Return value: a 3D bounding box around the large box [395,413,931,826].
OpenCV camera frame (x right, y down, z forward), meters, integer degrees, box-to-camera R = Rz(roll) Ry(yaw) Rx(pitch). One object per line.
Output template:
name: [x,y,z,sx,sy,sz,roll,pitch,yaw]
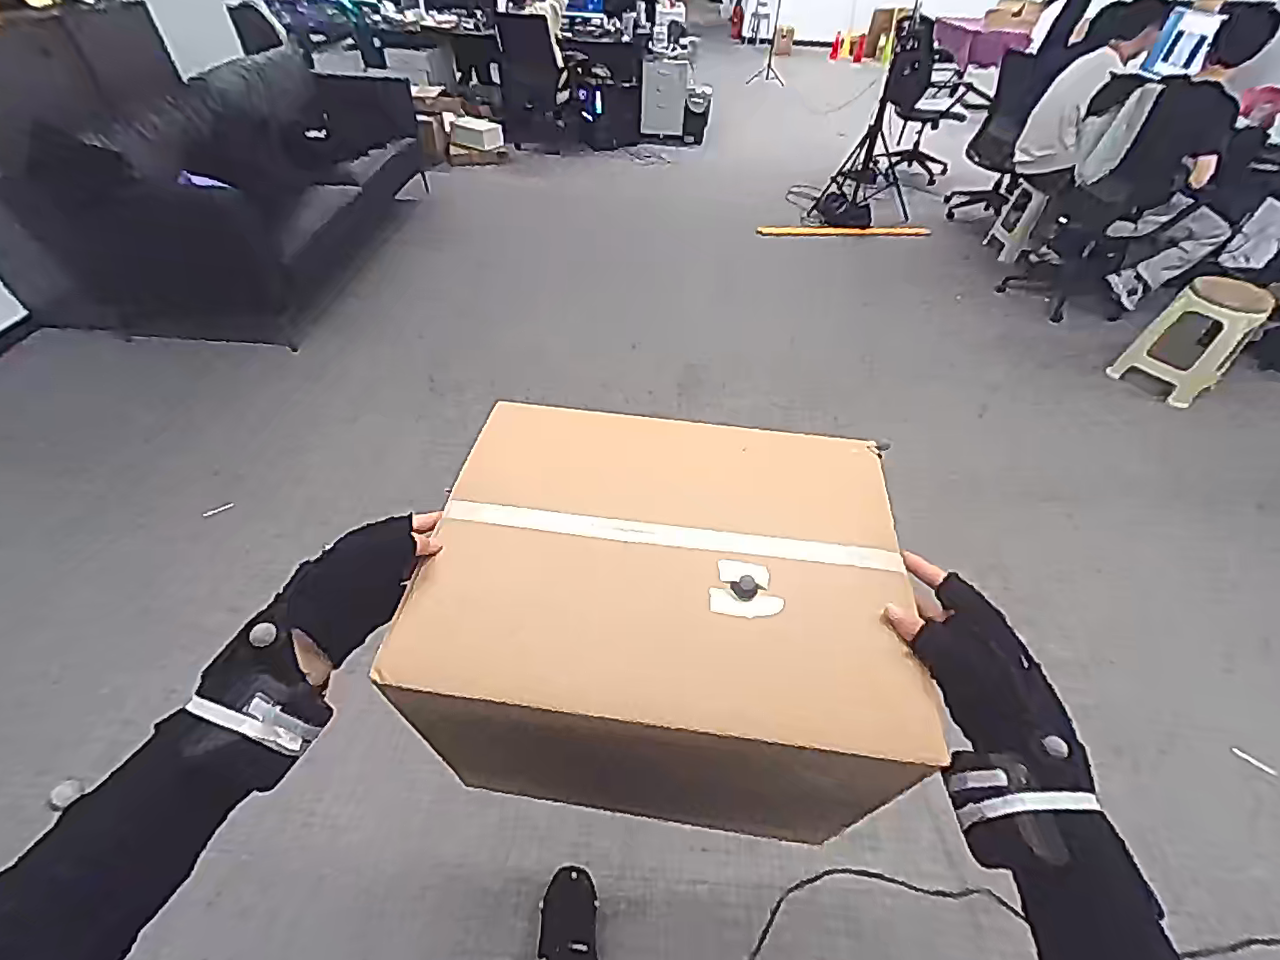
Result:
large box: [0.024,0.154,0.600,0.408,0.320,0.320,6,49,4]
